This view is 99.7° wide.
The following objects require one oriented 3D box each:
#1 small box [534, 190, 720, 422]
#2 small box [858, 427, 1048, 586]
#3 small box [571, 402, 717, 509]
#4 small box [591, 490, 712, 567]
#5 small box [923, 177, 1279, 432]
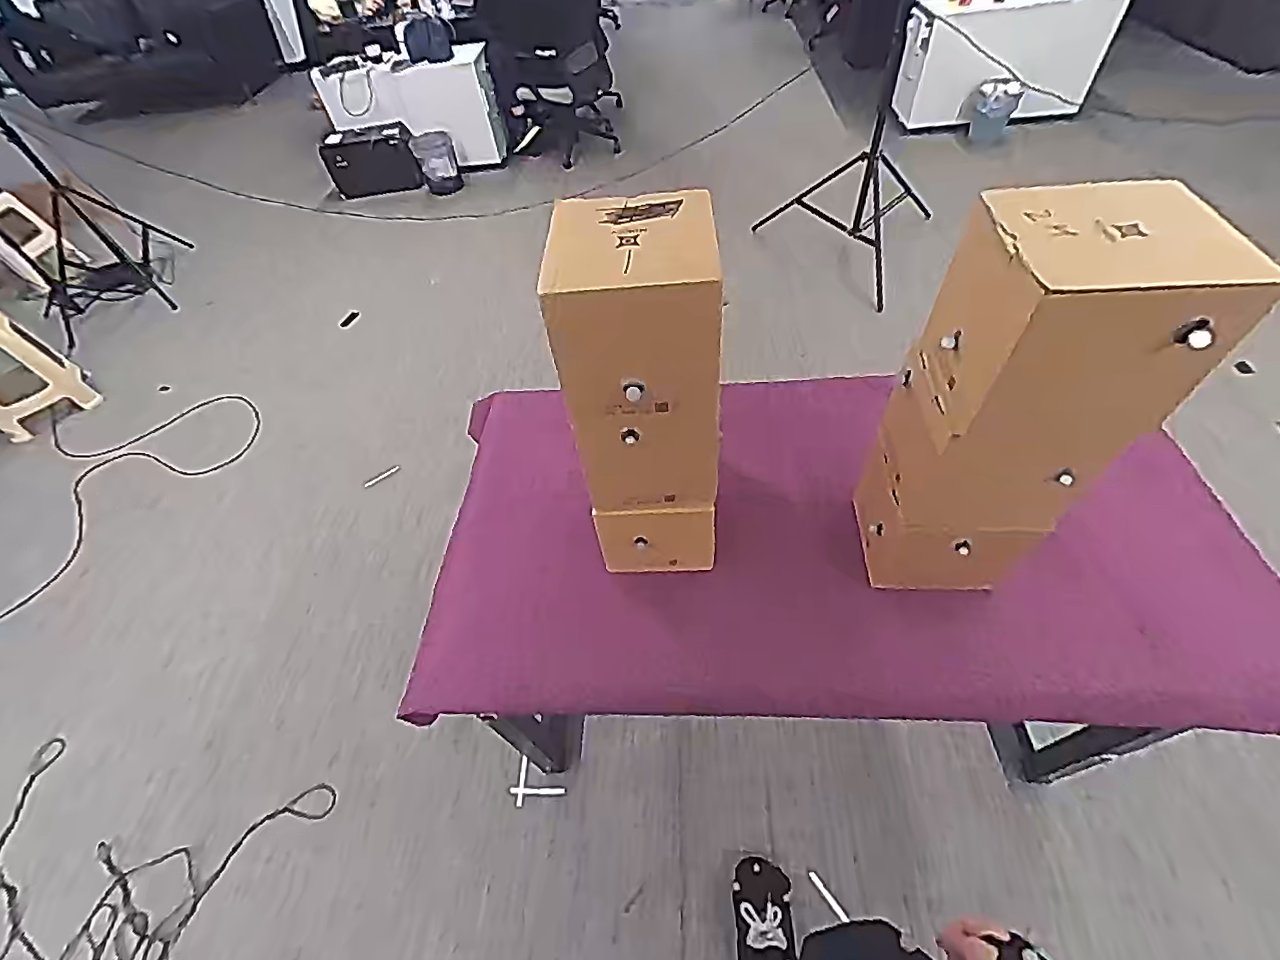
[{"bbox_3d":[-0.005,-0.184,0.582,0.168,0.176,0.179,-3,52,5],"label":"small box"},{"bbox_3d":[0.423,0.042,0.774,0.179,0.176,0.168,0,53,6],"label":"small box"},{"bbox_3d":[0.010,-0.082,0.712,0.168,0.176,0.179,-4,50,4],"label":"small box"},{"bbox_3d":[0.025,0.025,0.835,0.168,0.176,0.179,-3,51,5],"label":"small box"},{"bbox_3d":[0.402,-0.159,0.513,0.179,0.176,0.168,-1,52,7],"label":"small box"}]
